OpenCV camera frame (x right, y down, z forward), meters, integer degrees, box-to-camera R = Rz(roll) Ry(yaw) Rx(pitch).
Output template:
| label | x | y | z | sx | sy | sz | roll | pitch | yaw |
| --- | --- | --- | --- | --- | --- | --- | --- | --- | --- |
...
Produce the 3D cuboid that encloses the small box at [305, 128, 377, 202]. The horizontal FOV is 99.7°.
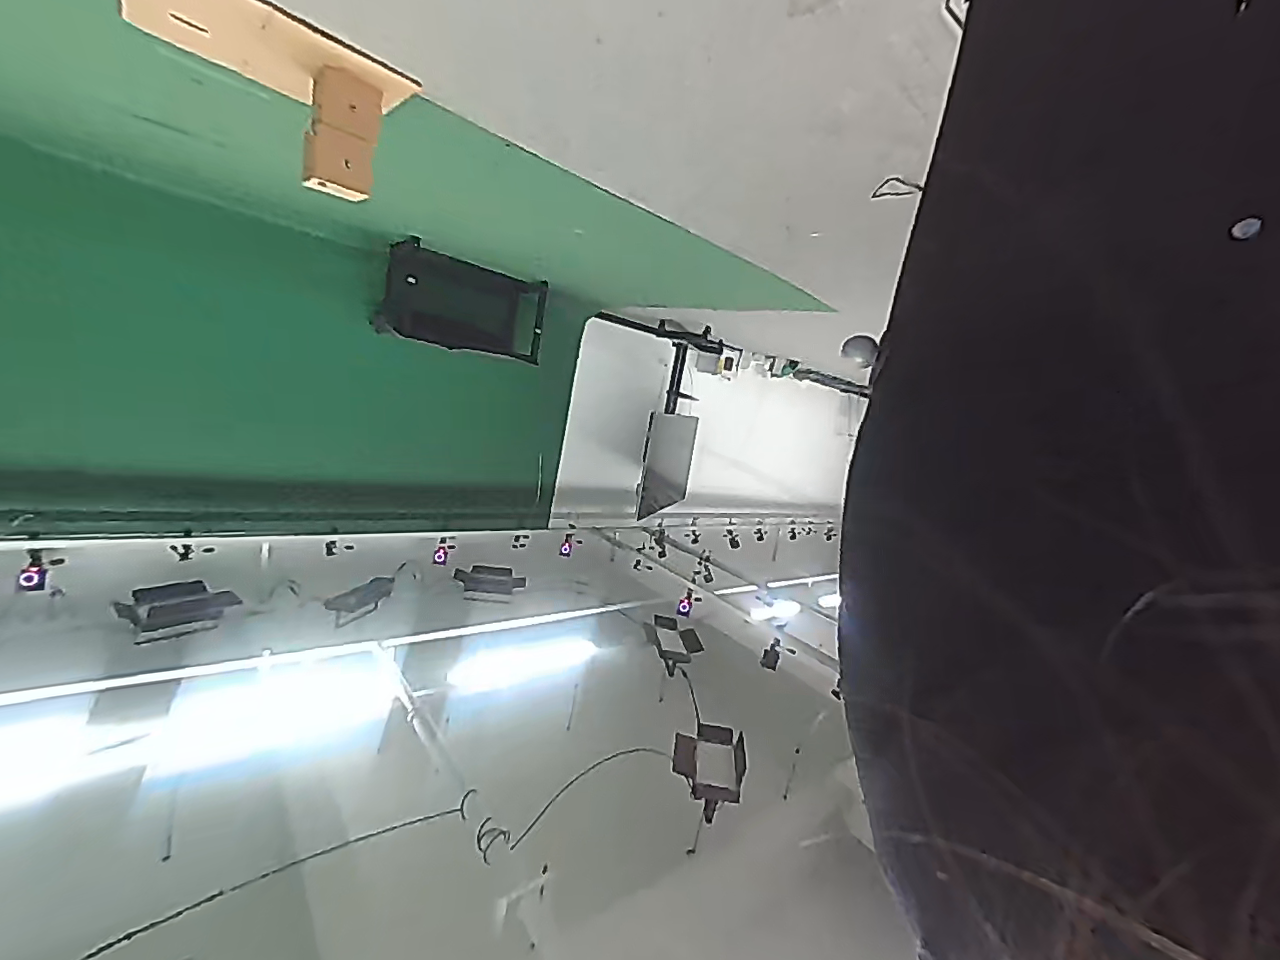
| label | x | y | z | sx | sy | sz | roll | pitch | yaw |
| --- | --- | --- | --- | --- | --- | --- | --- | --- | --- |
| small box | -1.018 | -1.074 | 1.842 | 0.179 | 0.176 | 0.168 | -1 | -165 | -45 |
